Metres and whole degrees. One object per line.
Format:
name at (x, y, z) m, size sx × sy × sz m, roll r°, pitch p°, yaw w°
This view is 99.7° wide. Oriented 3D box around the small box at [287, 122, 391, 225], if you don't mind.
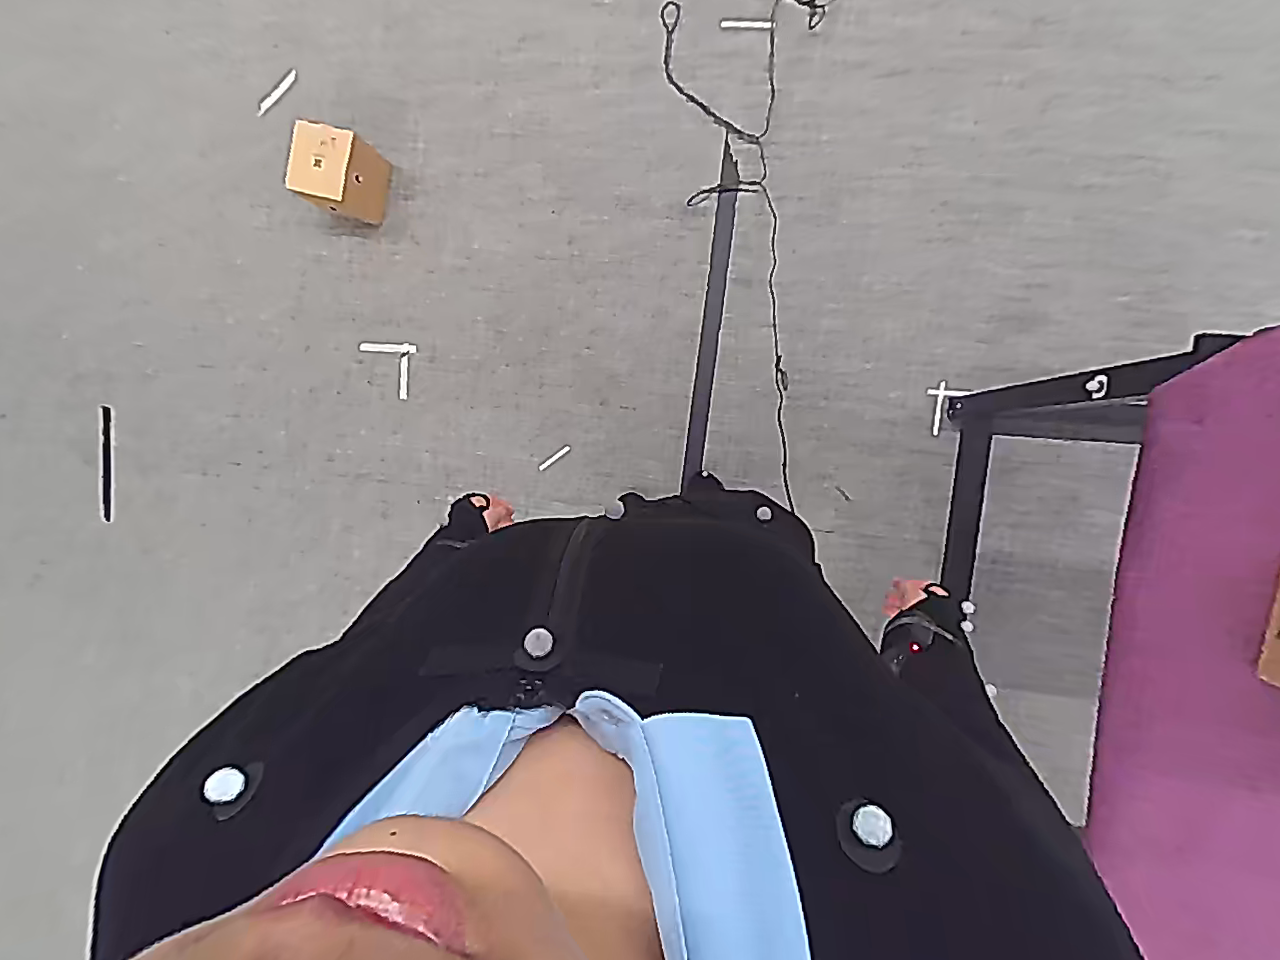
small box at (-0.802, -0.815, 1.457) m, size 0.168 × 0.176 × 0.179 m, roll 16°, pitch 96°, yaw 5°
